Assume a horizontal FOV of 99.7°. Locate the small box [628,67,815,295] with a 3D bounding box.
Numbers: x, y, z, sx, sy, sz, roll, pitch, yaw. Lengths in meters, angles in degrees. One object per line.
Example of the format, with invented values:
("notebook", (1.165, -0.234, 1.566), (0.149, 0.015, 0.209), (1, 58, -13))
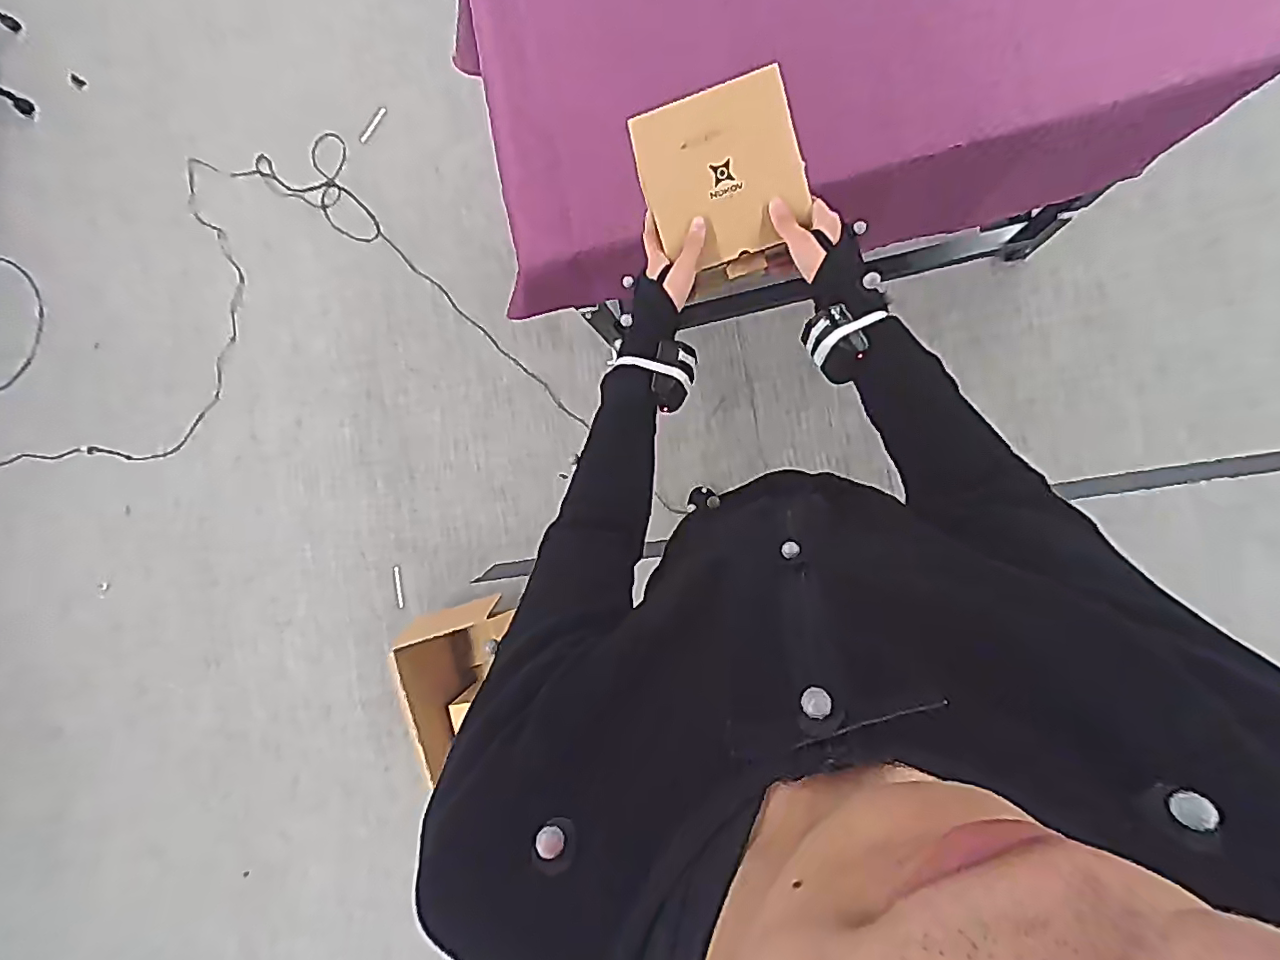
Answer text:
("small box", (0.094, -0.335, 0.653), (0.168, 0.176, 0.179), (-16, 98, 7))
